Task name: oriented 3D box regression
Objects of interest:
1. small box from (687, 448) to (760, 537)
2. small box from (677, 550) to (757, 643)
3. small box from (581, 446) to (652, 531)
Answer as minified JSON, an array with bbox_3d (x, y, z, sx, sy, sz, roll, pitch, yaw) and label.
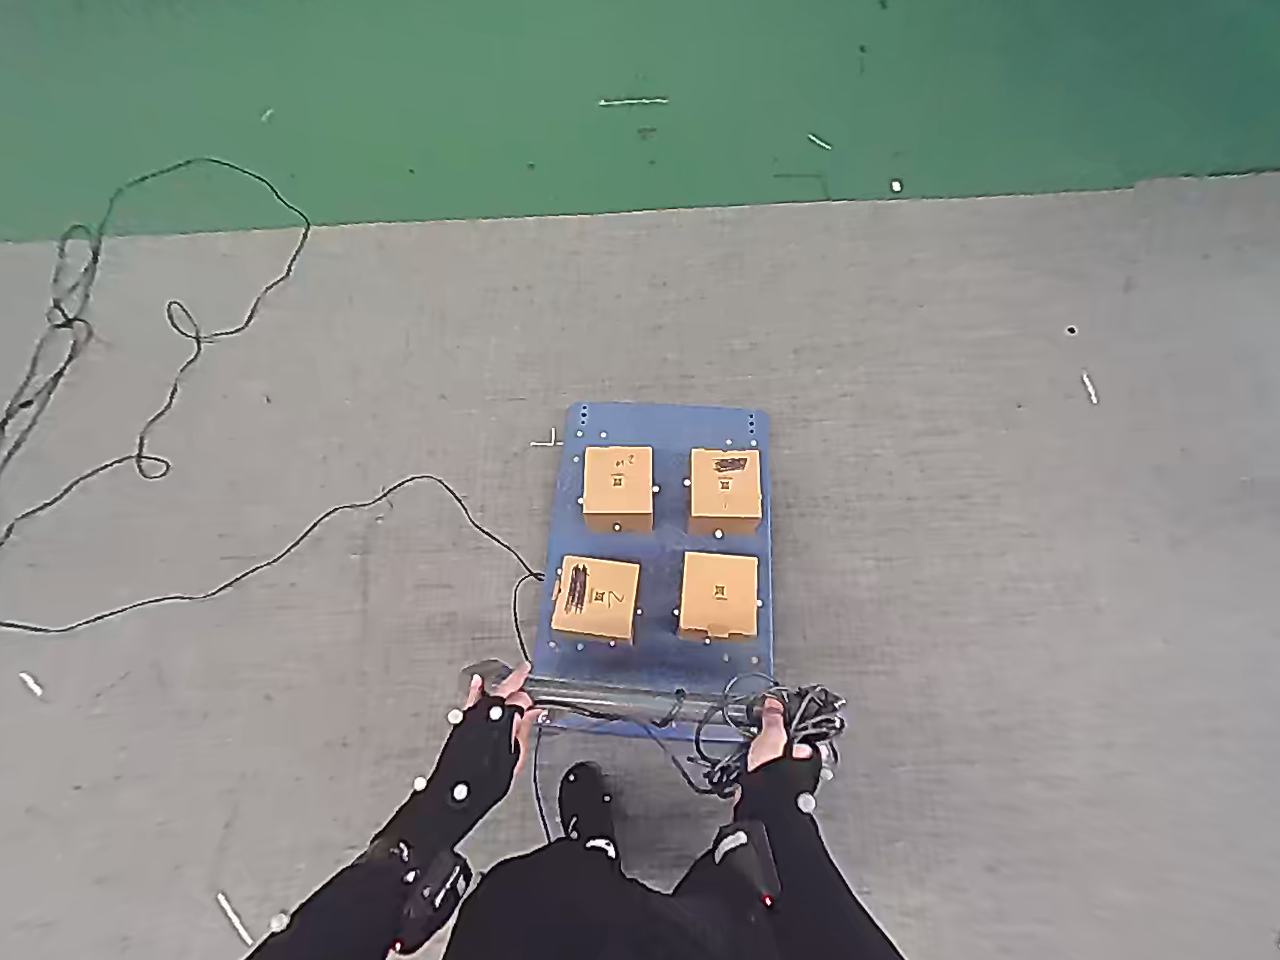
[{"bbox_3d":[0.205,0.034,1.361,0.168,0.176,0.179,1,69,3],"label":"small box"},{"bbox_3d":[0.175,0.277,1.265,0.168,0.176,0.179,5,68,3],"label":"small box"},{"bbox_3d":[-0.053,0.027,1.371,0.168,0.176,0.179,1,68,1],"label":"small box"}]
